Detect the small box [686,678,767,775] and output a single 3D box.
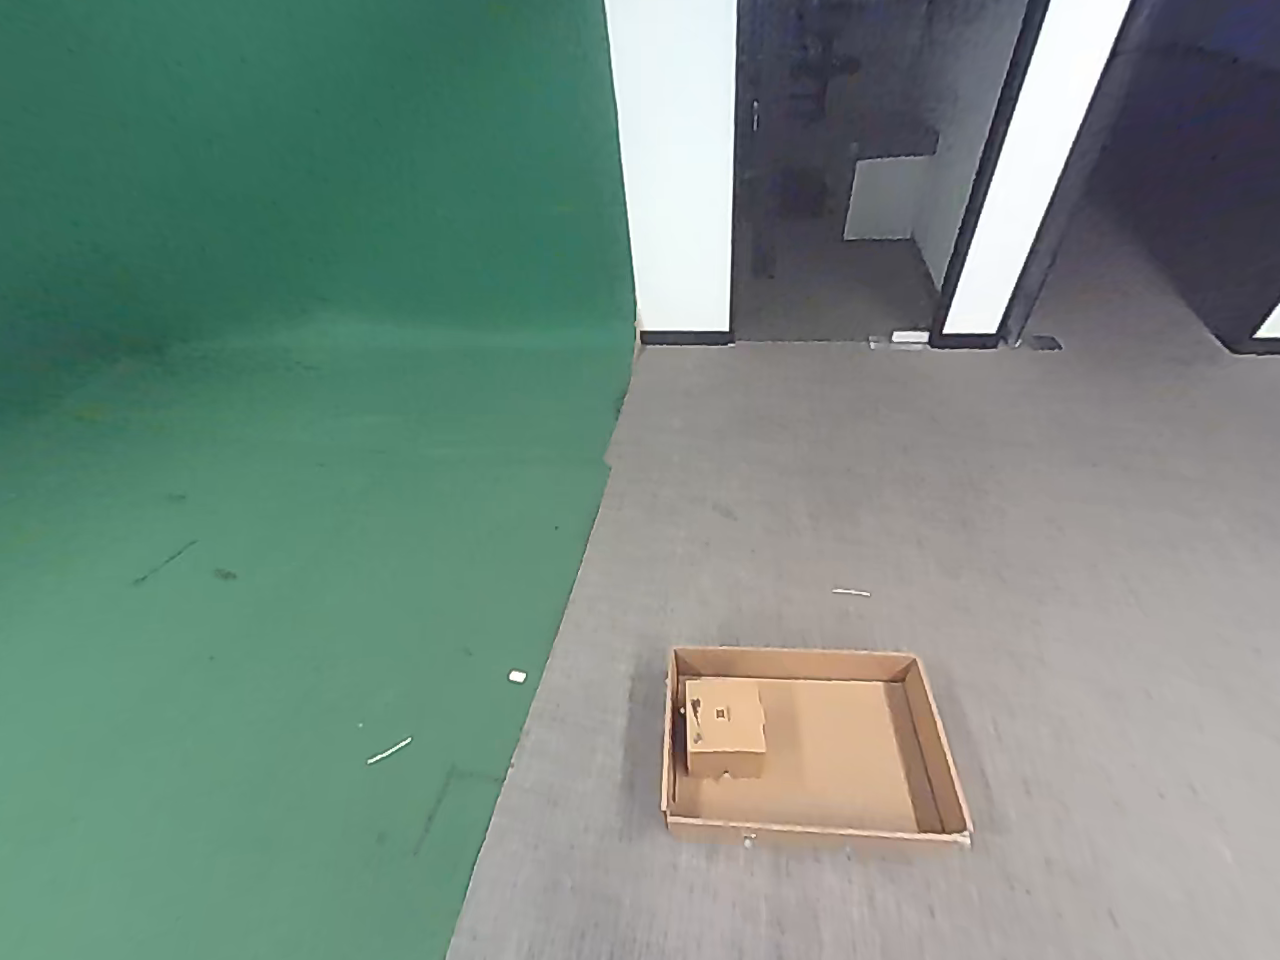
[{"bbox_3d":[0.200,0.592,1.297,0.179,0.176,0.168,-1,44,4],"label":"small box"}]
